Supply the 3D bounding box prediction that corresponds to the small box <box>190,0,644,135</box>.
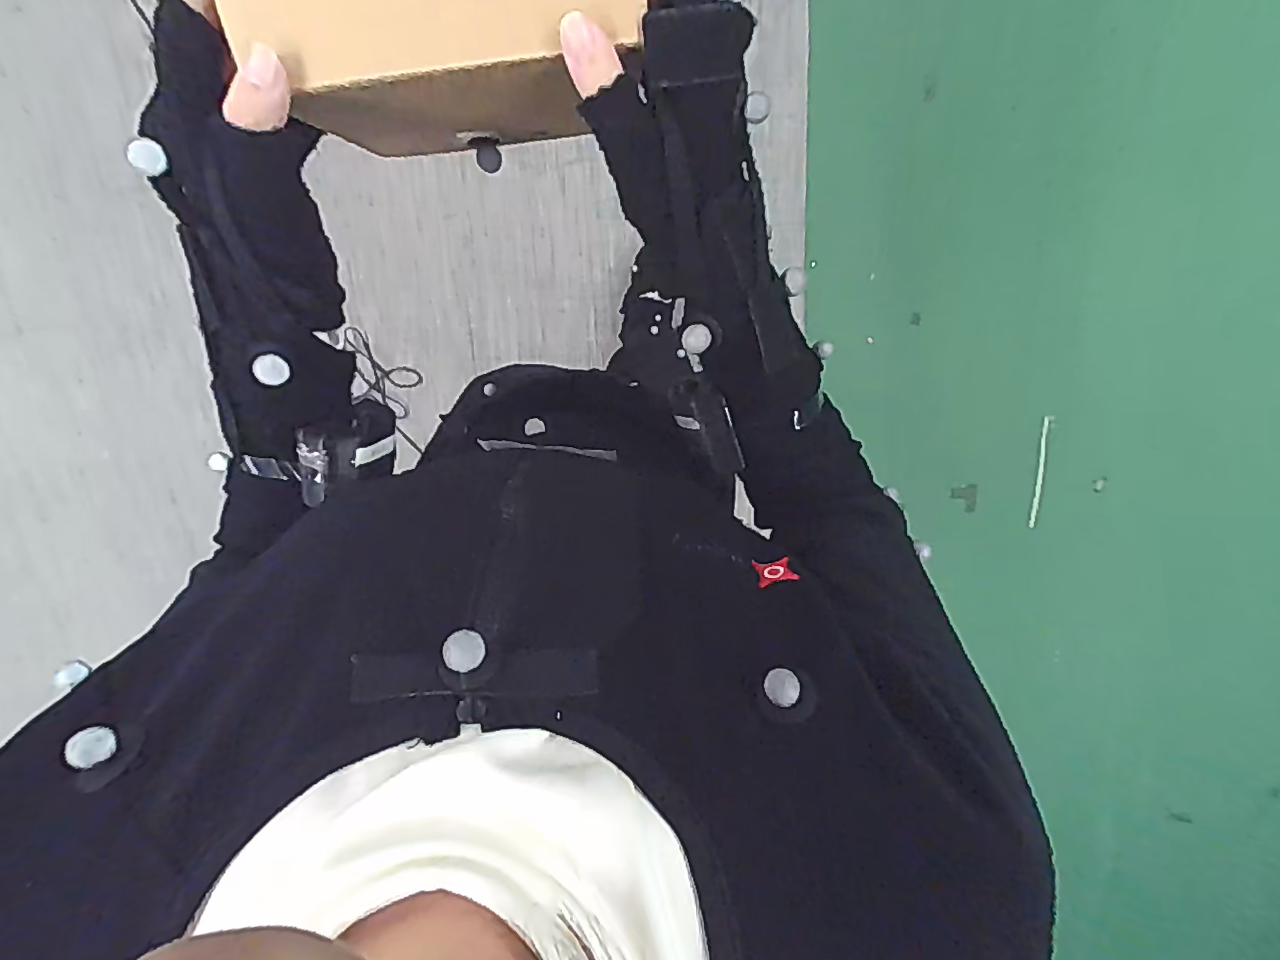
[{"bbox_3d":[-0.094,-0.279,0.241,0.168,0.176,0.179,-8,114,-1],"label":"small box"}]
